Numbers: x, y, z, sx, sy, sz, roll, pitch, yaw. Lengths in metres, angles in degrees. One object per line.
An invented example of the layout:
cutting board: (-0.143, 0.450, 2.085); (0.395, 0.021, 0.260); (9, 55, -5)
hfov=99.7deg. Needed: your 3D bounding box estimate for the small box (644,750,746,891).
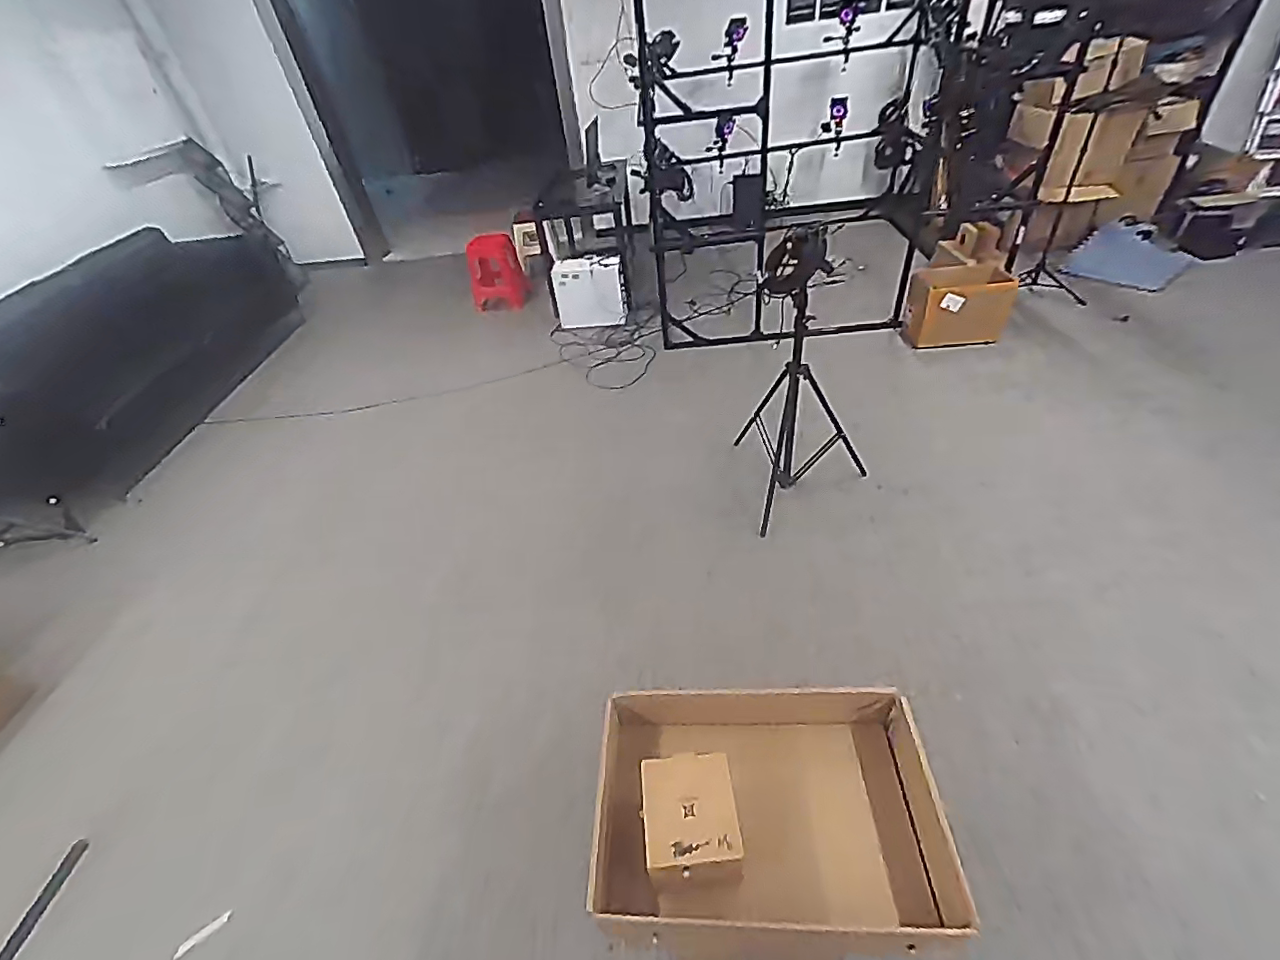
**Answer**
small box: (0.100, 0.639, 1.016); (0.168, 0.176, 0.179); (-8, 41, 2)
